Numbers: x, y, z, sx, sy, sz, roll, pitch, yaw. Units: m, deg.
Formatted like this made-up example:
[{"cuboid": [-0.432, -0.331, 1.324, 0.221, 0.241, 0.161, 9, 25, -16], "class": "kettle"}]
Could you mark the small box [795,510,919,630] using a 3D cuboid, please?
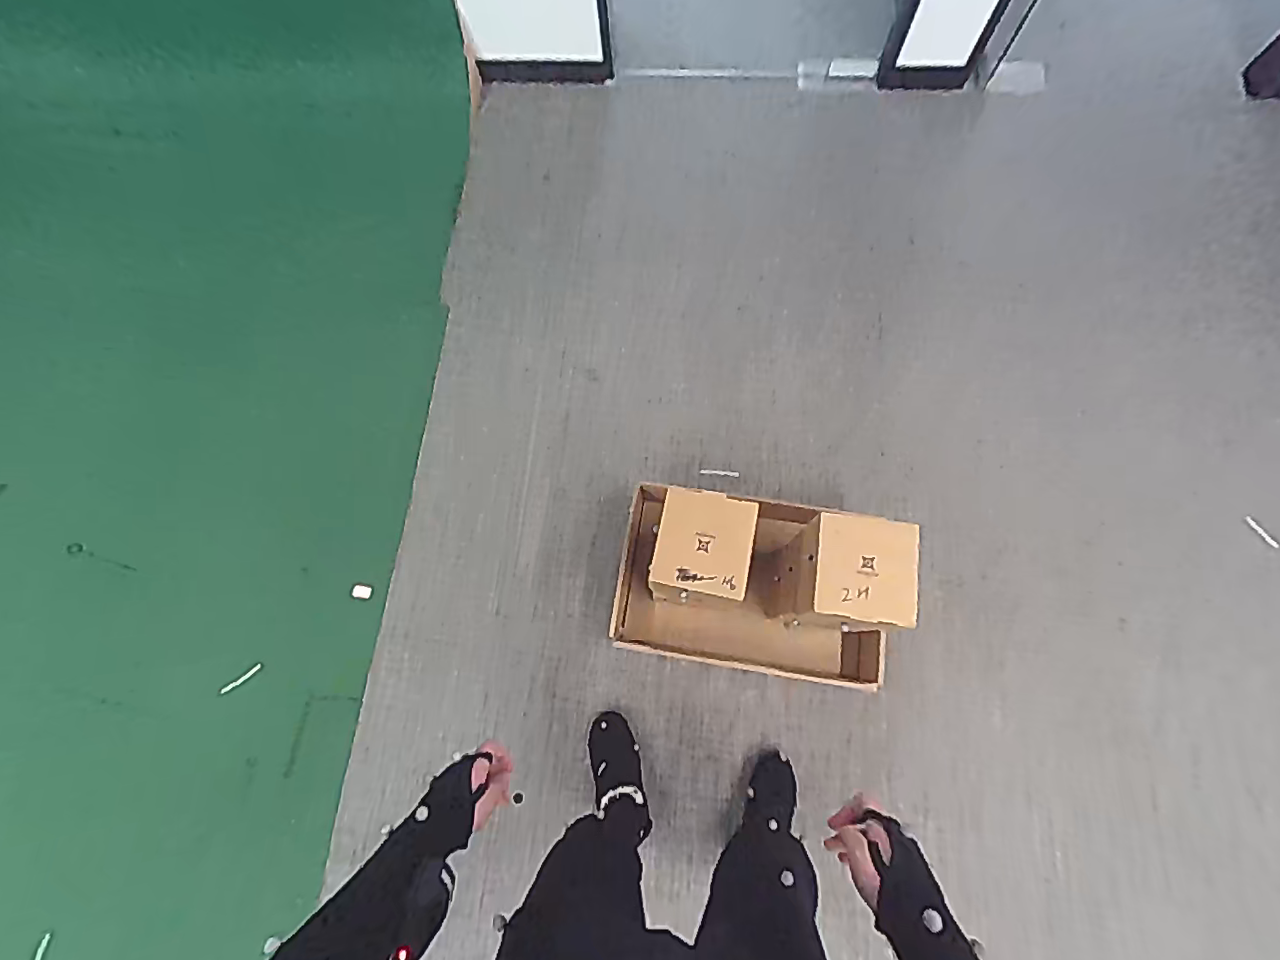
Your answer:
[{"cuboid": [0.384, 0.168, 0.980, 0.168, 0.176, 0.179, 8, 74, 7], "class": "small box"}]

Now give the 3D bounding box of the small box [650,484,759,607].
[{"cuboid": [0.113, 0.128, 1.005, 0.168, 0.176, 0.179, 12, 73, 5], "class": "small box"}]

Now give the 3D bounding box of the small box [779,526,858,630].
[{"cuboid": [0.396, 0.213, 1.139, 0.168, 0.176, 0.179, 10, 73, 7], "class": "small box"}]
